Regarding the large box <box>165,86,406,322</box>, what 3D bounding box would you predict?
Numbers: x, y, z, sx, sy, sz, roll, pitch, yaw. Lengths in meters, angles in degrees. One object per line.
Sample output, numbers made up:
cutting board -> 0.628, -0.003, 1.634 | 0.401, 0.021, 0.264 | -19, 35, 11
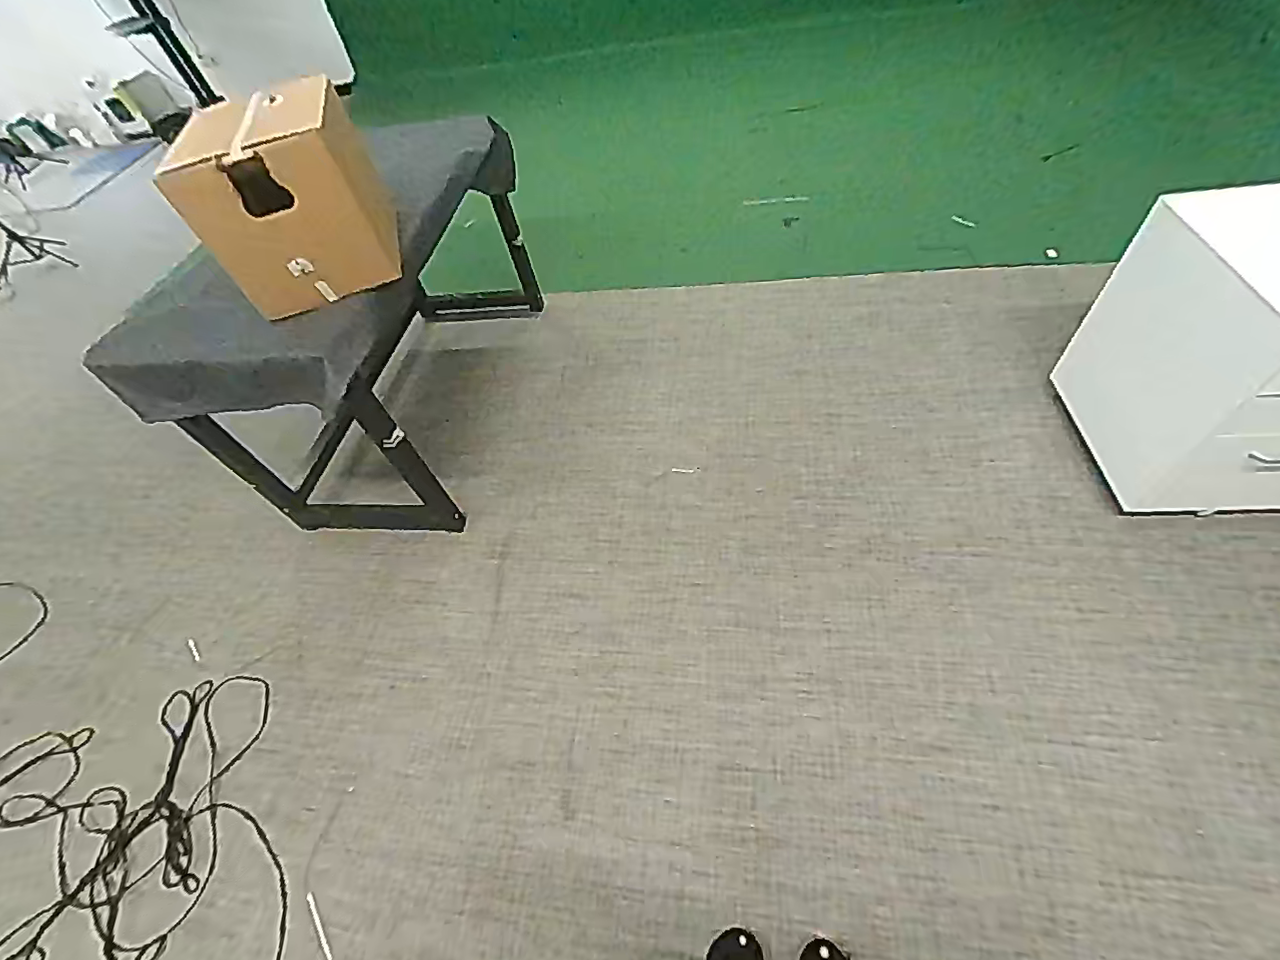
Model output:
large box -> -0.762, -0.629, 1.229 | 0.320, 0.320, 0.408 | -20, 50, -5
